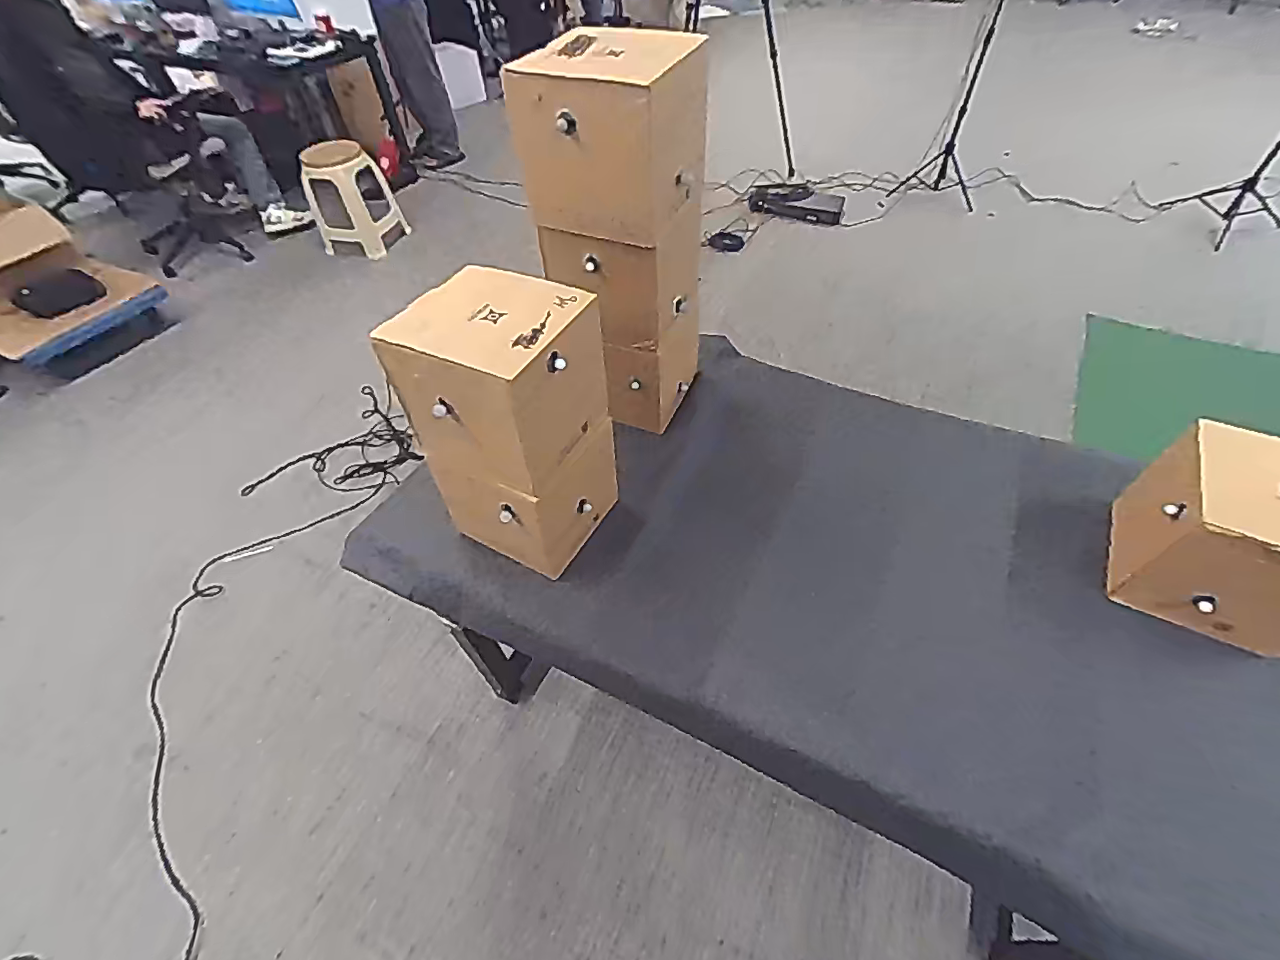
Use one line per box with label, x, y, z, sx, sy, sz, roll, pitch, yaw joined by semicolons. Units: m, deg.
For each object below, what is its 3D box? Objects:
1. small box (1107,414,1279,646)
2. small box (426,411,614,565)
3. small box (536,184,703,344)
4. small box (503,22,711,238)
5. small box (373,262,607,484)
small box;0.693;0.059;0.633;0.168;0.176;0.179;22;57;21
small box;-0.147;-0.009;0.736;0.179;0.176;0.168;22;53;20
small box;-0.021;-0.319;0.778;0.179;0.176;0.168;18;56;15
small box;-0.030;-0.414;0.643;0.179;0.176;0.168;20;57;17
small box;-0.153;-0.120;0.616;0.179;0.176;0.168;19;52;18
